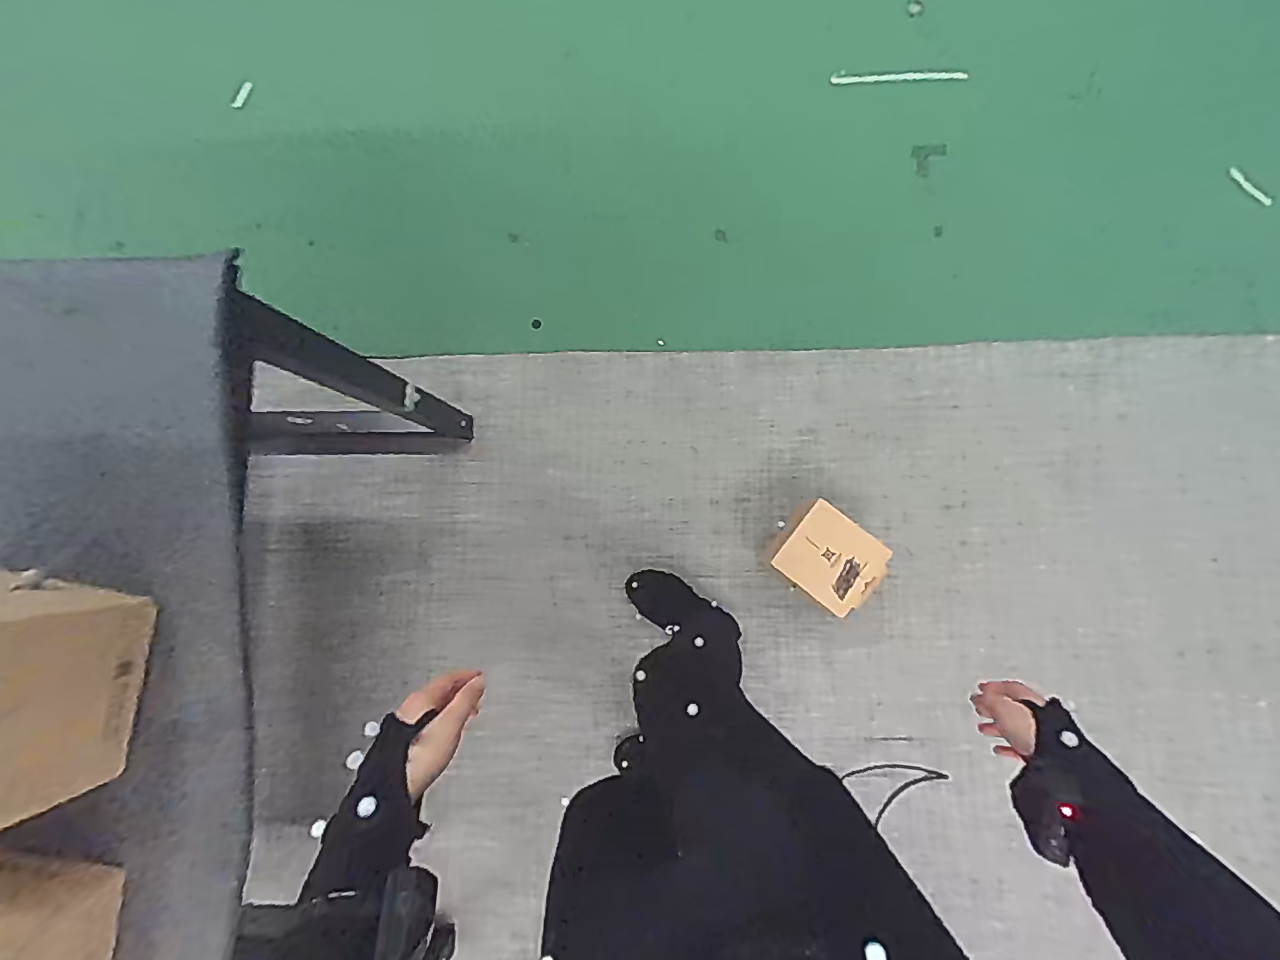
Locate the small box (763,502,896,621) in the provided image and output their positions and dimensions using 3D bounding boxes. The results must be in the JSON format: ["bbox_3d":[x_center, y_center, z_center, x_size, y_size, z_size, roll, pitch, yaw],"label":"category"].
[{"bbox_3d":[0.381,0.161,1.120,0.179,0.176,0.168,38,88,6],"label":"small box"}]

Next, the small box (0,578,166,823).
[{"bbox_3d":[-0.550,0.176,0.434,0.179,0.176,0.168,8,86,6],"label":"small box"}]
